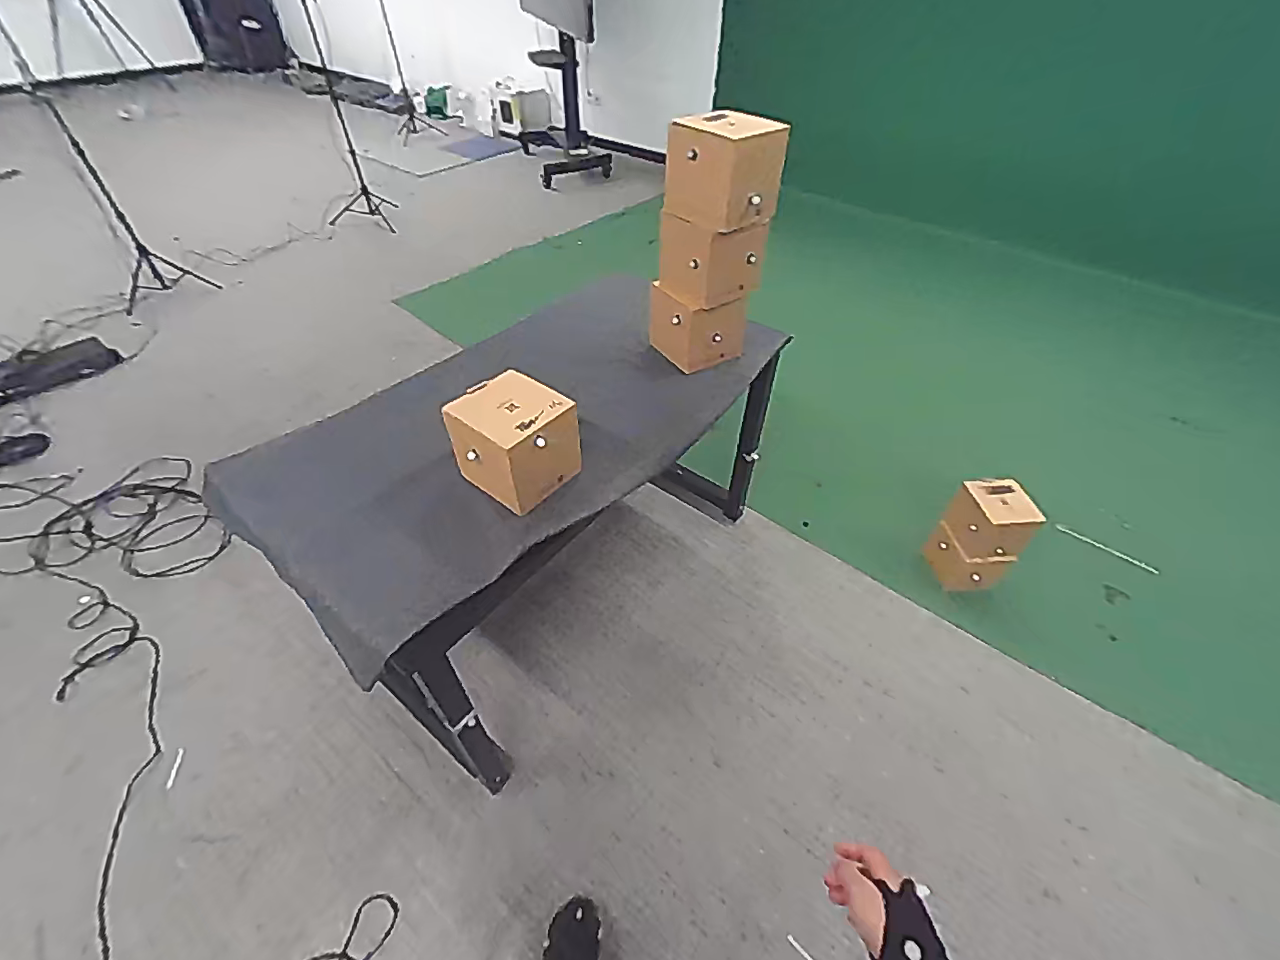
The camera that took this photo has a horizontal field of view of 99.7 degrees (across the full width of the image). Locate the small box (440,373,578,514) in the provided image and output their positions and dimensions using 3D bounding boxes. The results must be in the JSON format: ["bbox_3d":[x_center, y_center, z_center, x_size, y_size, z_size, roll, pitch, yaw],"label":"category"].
[{"bbox_3d":[-0.234,-0.066,1.001,0.179,0.176,0.168,29,52,26],"label":"small box"}]

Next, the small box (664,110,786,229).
[{"bbox_3d":[0.163,-0.627,1.094,0.168,0.176,0.179,-33,54,-29],"label":"small box"}]

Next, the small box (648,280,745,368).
[{"bbox_3d":[0.133,-0.390,1.318,0.168,0.176,0.179,-23,48,-22],"label":"small box"}]

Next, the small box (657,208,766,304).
[{"bbox_3d":[0.153,-0.510,1.209,0.168,0.176,0.179,-27,50,-26],"label":"small box"}]

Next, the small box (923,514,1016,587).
[{"bbox_3d":[1.061,0.234,1.755,0.168,0.176,0.179,-3,46,-4],"label":"small box"}]
